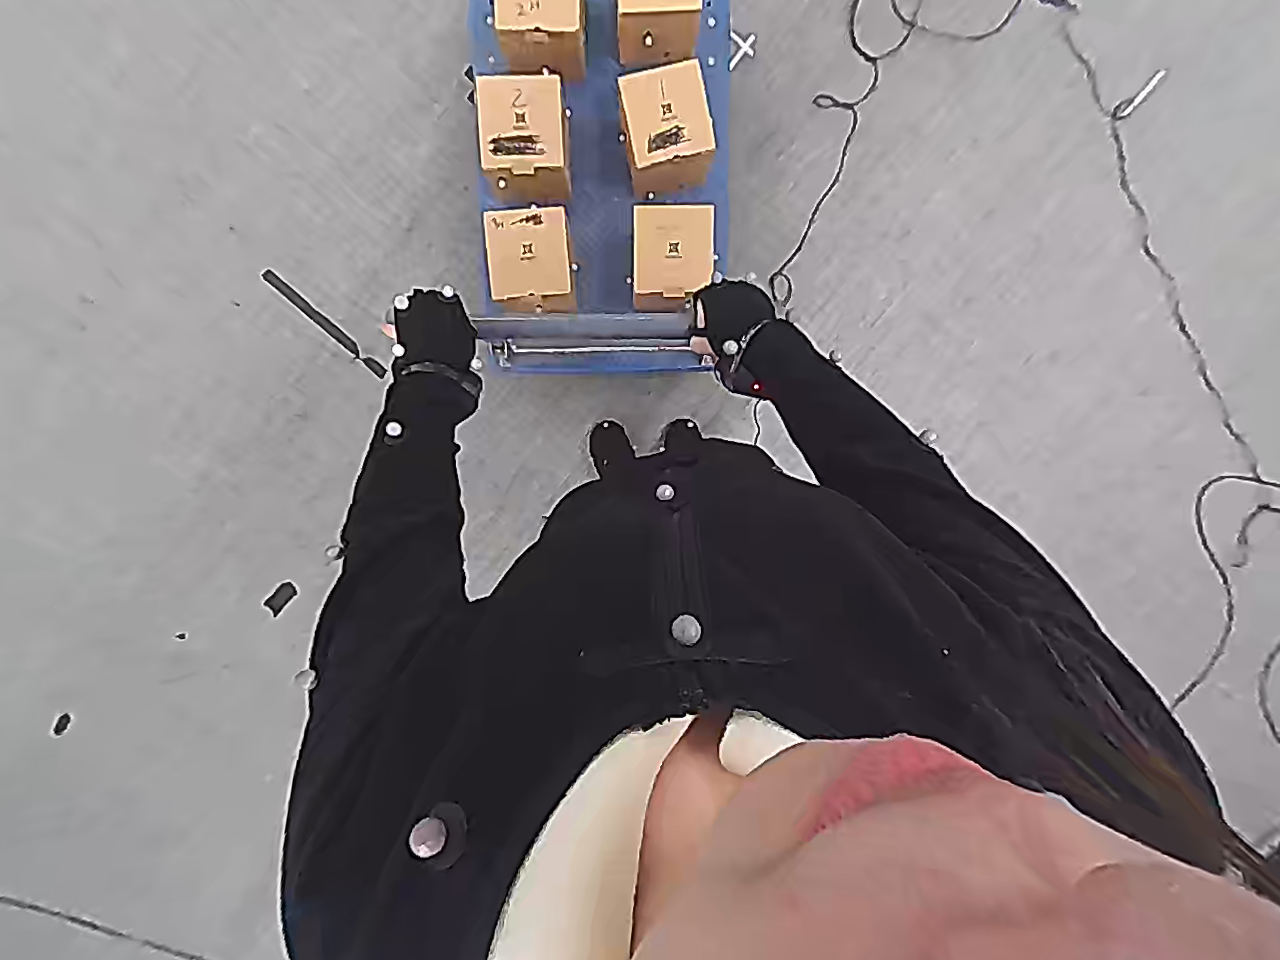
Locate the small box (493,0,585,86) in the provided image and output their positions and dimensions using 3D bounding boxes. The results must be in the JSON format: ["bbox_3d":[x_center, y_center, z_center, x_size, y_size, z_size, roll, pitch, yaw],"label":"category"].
[{"bbox_3d":[-0.203,-0.963,1.119,0.168,0.176,0.179,1,98,-2],"label":"small box"}]

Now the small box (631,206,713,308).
[{"bbox_3d":[0.065,-0.480,1.188,0.168,0.176,0.179,-1,96,-2],"label":"small box"}]

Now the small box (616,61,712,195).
[{"bbox_3d":[0.048,-0.735,1.155,0.168,0.176,0.179,-13,96,0],"label":"small box"}]

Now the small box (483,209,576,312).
[{"bbox_3d":[-0.232,-0.469,1.181,0.168,0.176,0.179,-4,98,-2],"label":"small box"}]

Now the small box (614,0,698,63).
[{"bbox_3d":[0.028,-1.005,1.123,0.168,0.176,0.179,-4,97,-1],"label":"small box"}]
